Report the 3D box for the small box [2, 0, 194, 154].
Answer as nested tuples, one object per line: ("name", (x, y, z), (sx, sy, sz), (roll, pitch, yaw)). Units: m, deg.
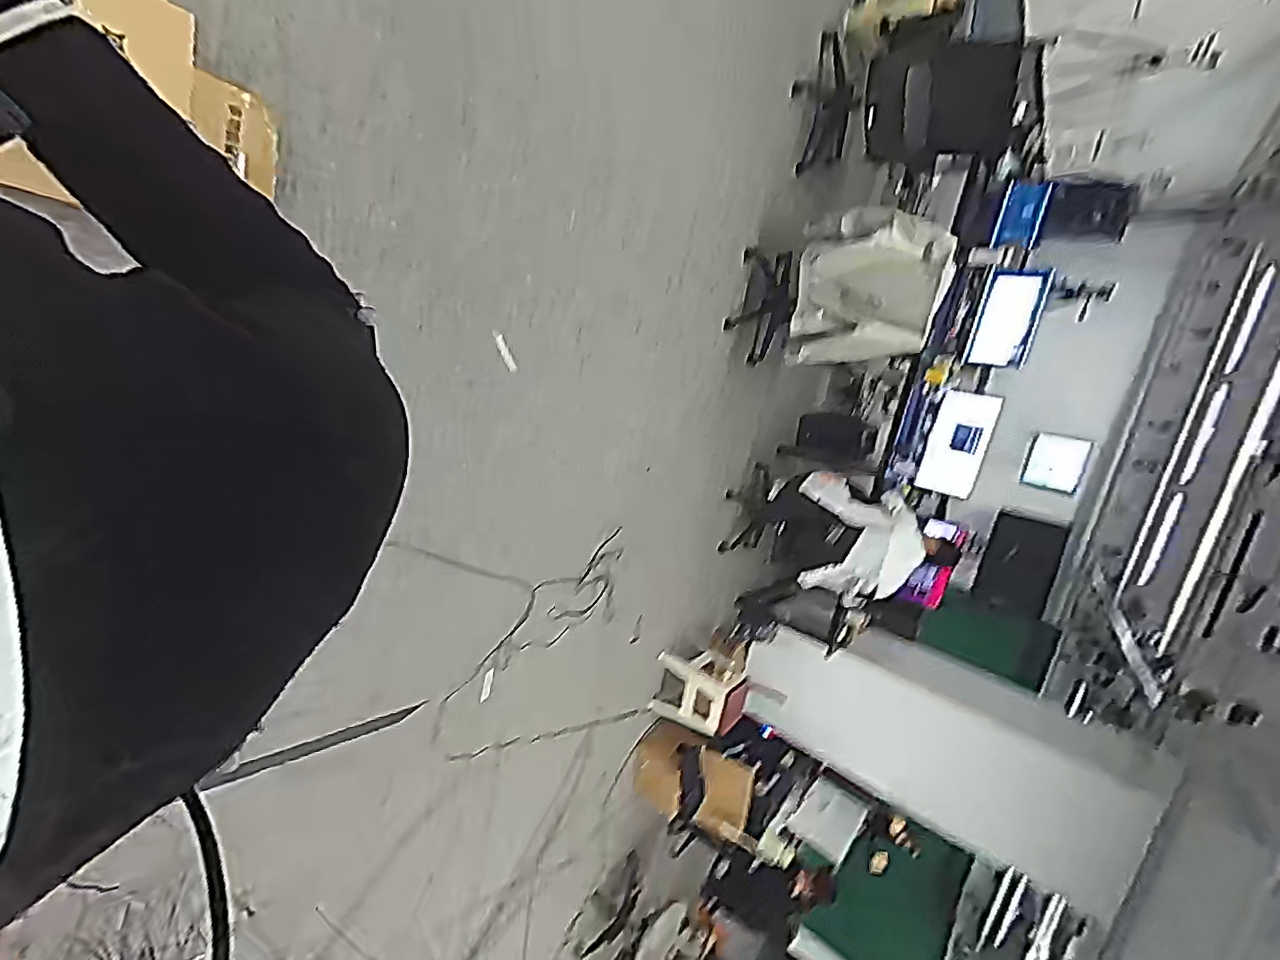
("small box", (-0.753, -0.586, 0.751), (0.168, 0.176, 0.179), (0, 106, -53))
